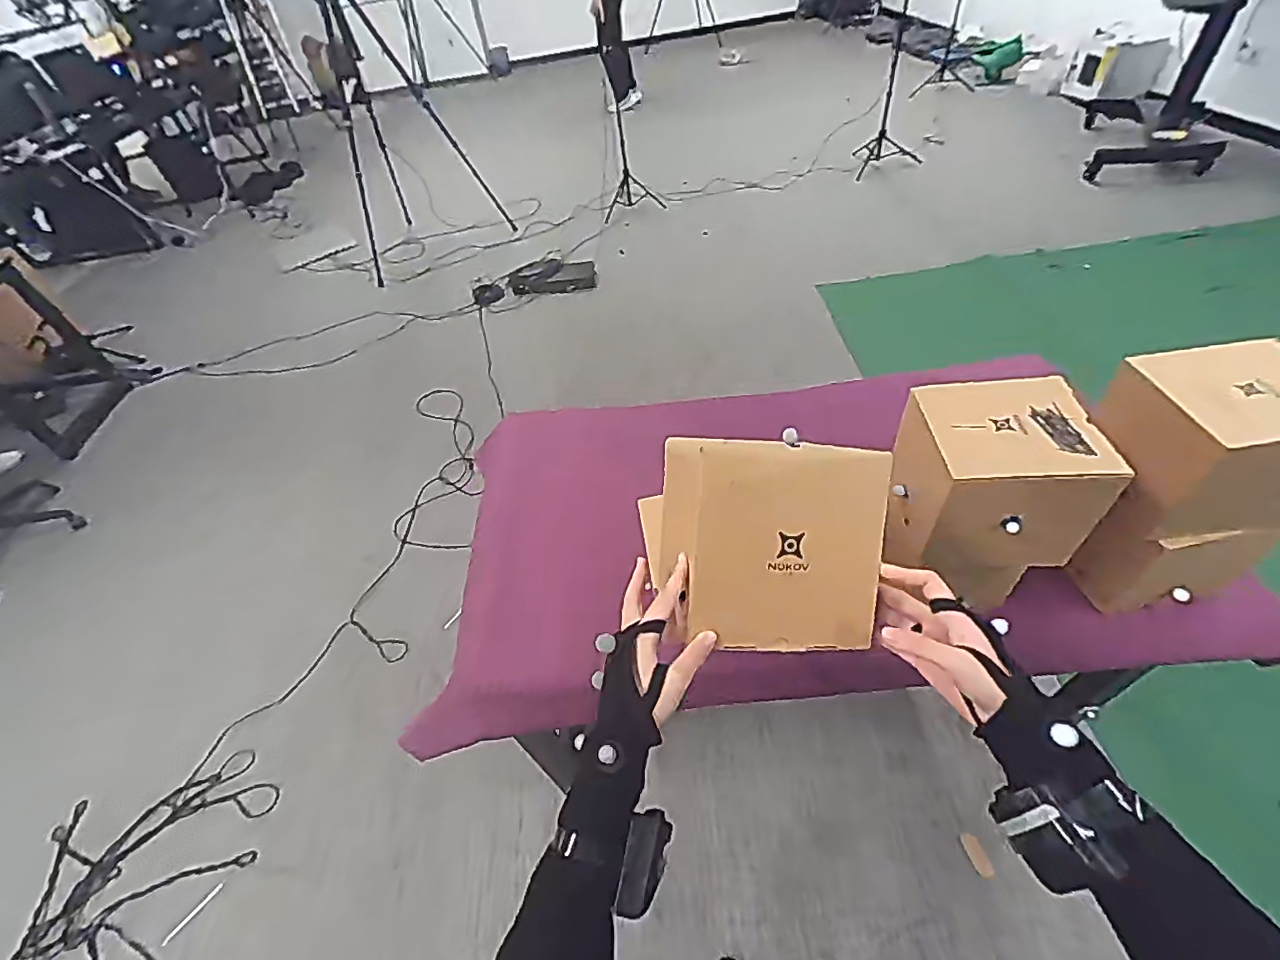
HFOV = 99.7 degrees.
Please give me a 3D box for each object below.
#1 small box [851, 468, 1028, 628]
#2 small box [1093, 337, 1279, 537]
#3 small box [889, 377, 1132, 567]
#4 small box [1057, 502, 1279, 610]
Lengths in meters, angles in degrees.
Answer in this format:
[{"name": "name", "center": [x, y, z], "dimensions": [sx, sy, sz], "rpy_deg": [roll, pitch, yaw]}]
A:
[{"name": "small box", "center": [0.434, 0.091, 0.805], "dimensions": [0.168, 0.176, 0.179], "rpy_deg": [-13, 46, -1]}, {"name": "small box", "center": [0.695, -0.048, 0.661], "dimensions": [0.179, 0.176, 0.168], "rpy_deg": [-7, 47, 5]}, {"name": "small box", "center": [0.431, -0.005, 0.669], "dimensions": [0.179, 0.176, 0.168], "rpy_deg": [-3, 46, 9]}, {"name": "small box", "center": [0.729, 0.065, 0.775], "dimensions": [0.179, 0.176, 0.168], "rpy_deg": [-11, 47, 1]}]
